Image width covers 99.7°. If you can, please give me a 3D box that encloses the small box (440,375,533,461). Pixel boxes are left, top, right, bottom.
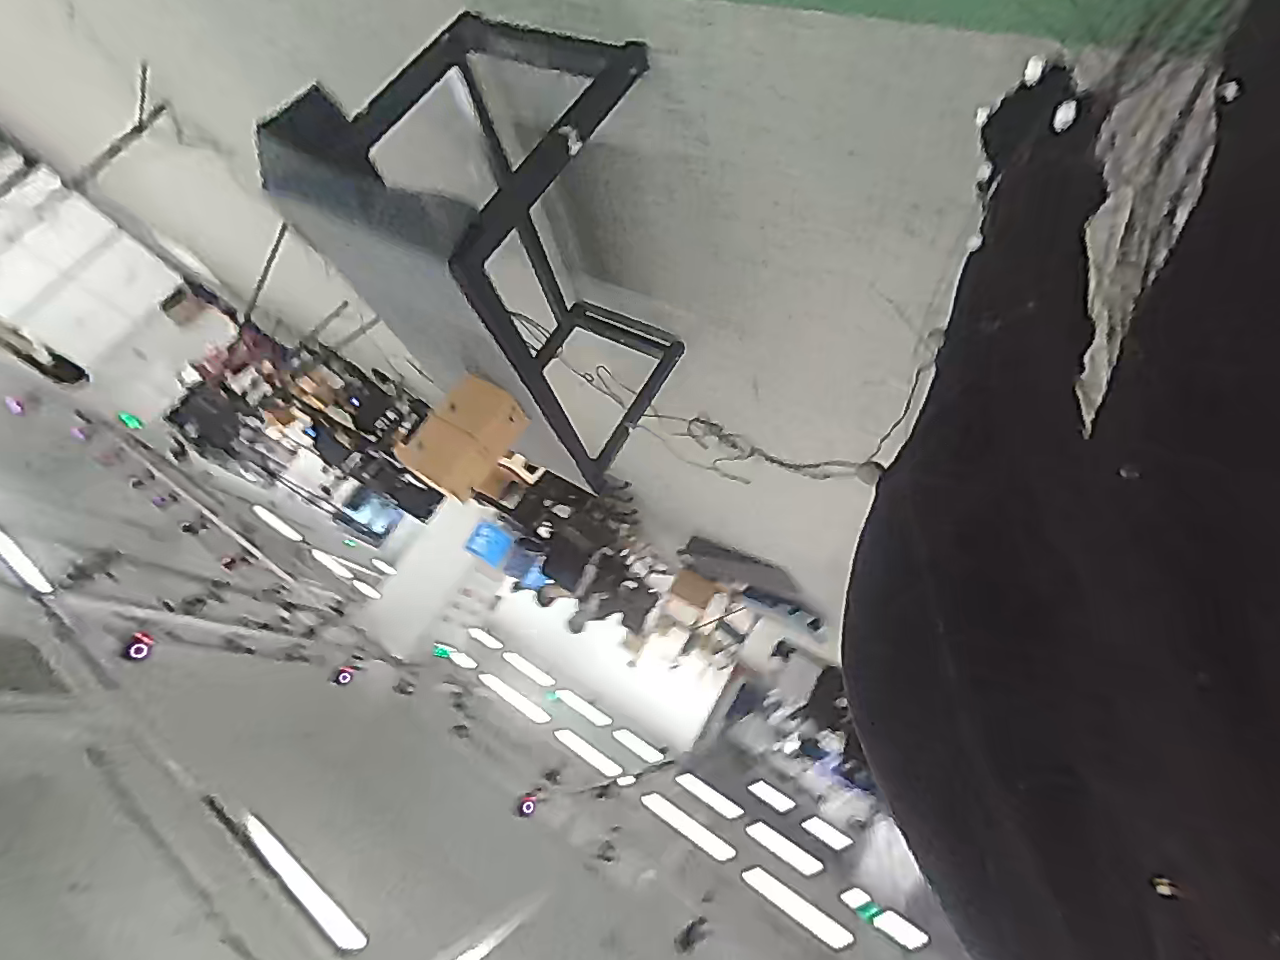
[{"bbox_3d":[-0.460,-0.193,1.644,0.179,0.176,0.168,27,164,21],"label":"small box"}]
